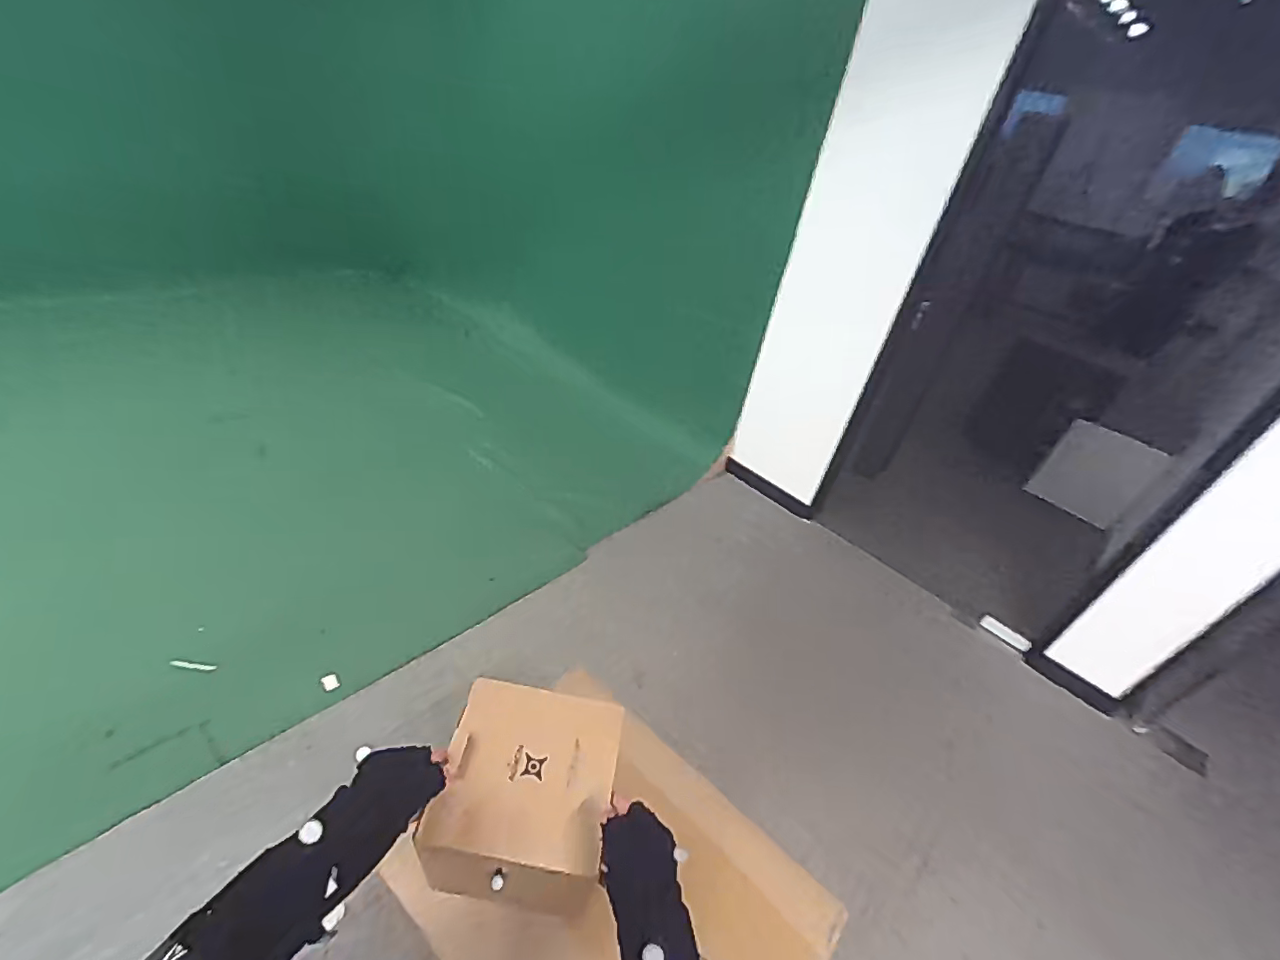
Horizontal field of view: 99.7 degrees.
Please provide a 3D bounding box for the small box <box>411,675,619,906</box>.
[{"bbox_3d":[-0.130,0.348,0.604,0.179,0.176,0.168,11,40,-2],"label":"small box"}]
